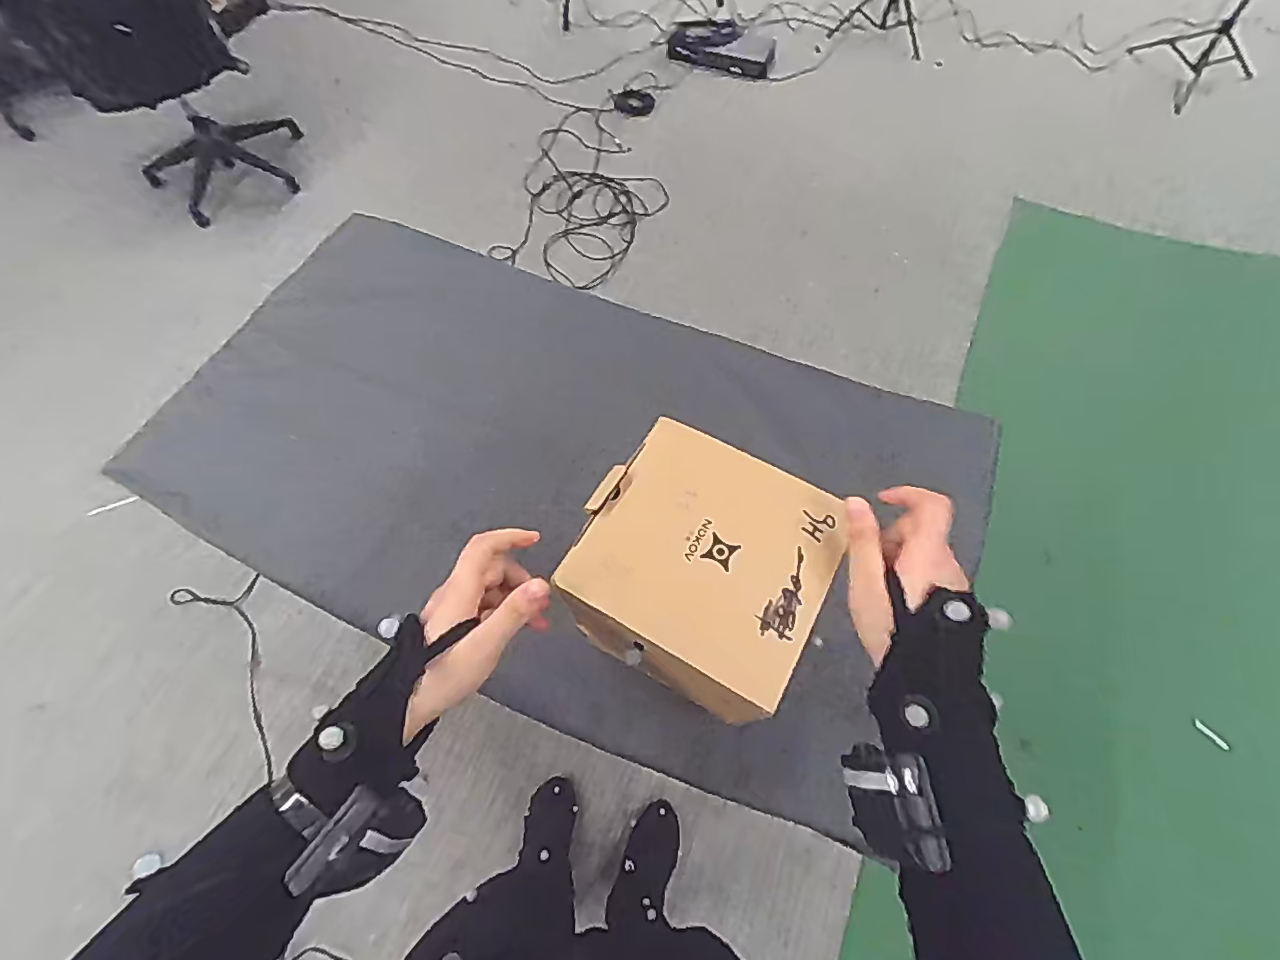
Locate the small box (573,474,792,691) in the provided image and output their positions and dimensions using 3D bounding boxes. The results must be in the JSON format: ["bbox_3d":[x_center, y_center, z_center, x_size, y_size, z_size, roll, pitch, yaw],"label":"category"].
[{"bbox_3d":[0.046,0.126,0.620,0.179,0.176,0.168,26,67,12],"label":"small box"}]
